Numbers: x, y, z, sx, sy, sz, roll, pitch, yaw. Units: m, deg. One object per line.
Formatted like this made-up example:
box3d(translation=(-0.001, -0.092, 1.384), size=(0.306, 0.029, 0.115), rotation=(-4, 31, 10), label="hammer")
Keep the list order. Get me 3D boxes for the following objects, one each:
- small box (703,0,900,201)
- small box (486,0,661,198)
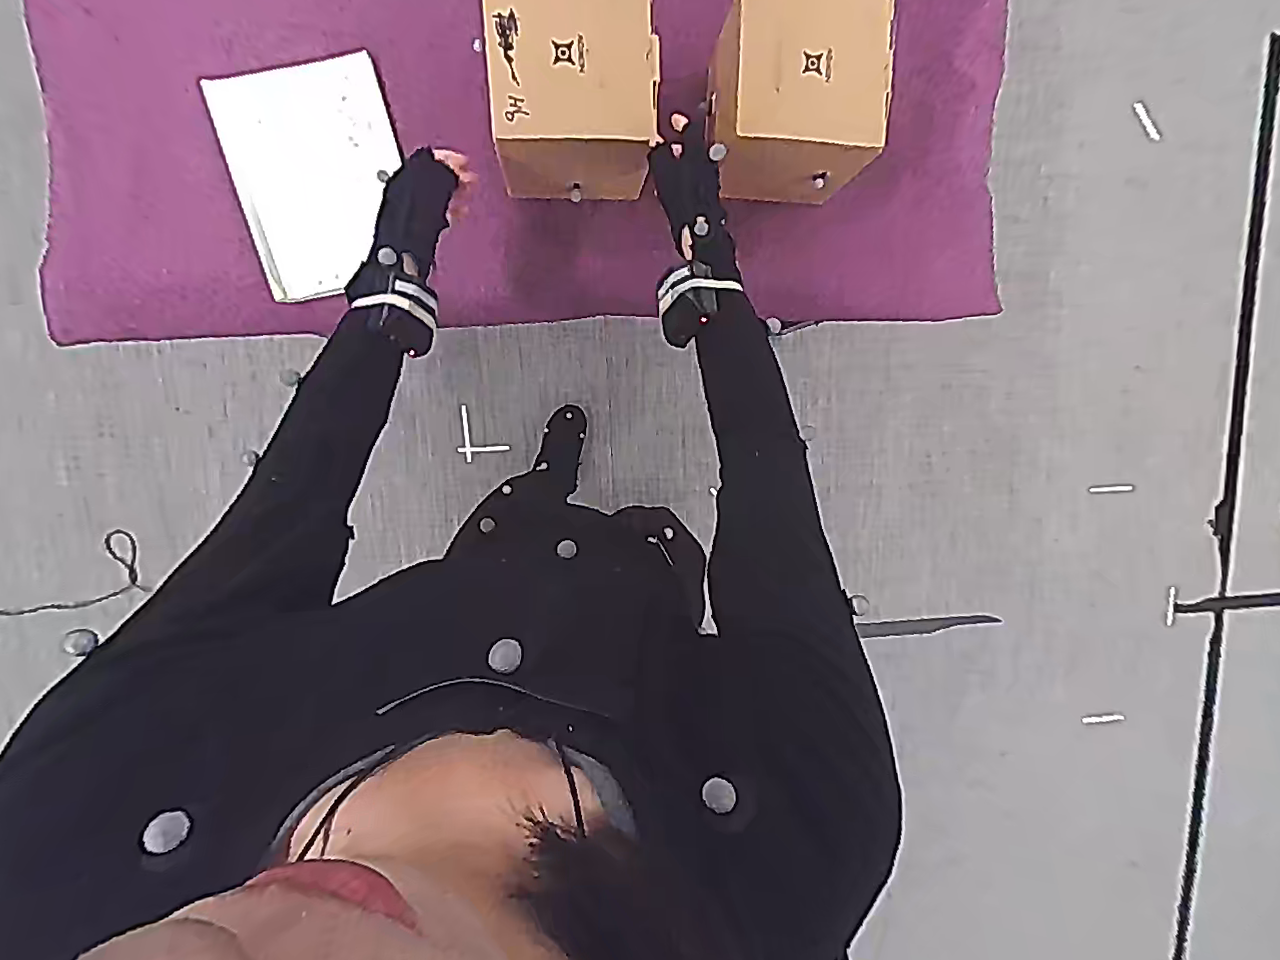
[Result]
box3d(translation=(0.185, -0.462, 0.664), size=(0.179, 0.176, 0.168), rotation=(1, 95, -6), label="small box")
box3d(translation=(-0.078, -0.447, 0.631), size=(0.179, 0.176, 0.168), rotation=(-3, 97, -8), label="small box")
